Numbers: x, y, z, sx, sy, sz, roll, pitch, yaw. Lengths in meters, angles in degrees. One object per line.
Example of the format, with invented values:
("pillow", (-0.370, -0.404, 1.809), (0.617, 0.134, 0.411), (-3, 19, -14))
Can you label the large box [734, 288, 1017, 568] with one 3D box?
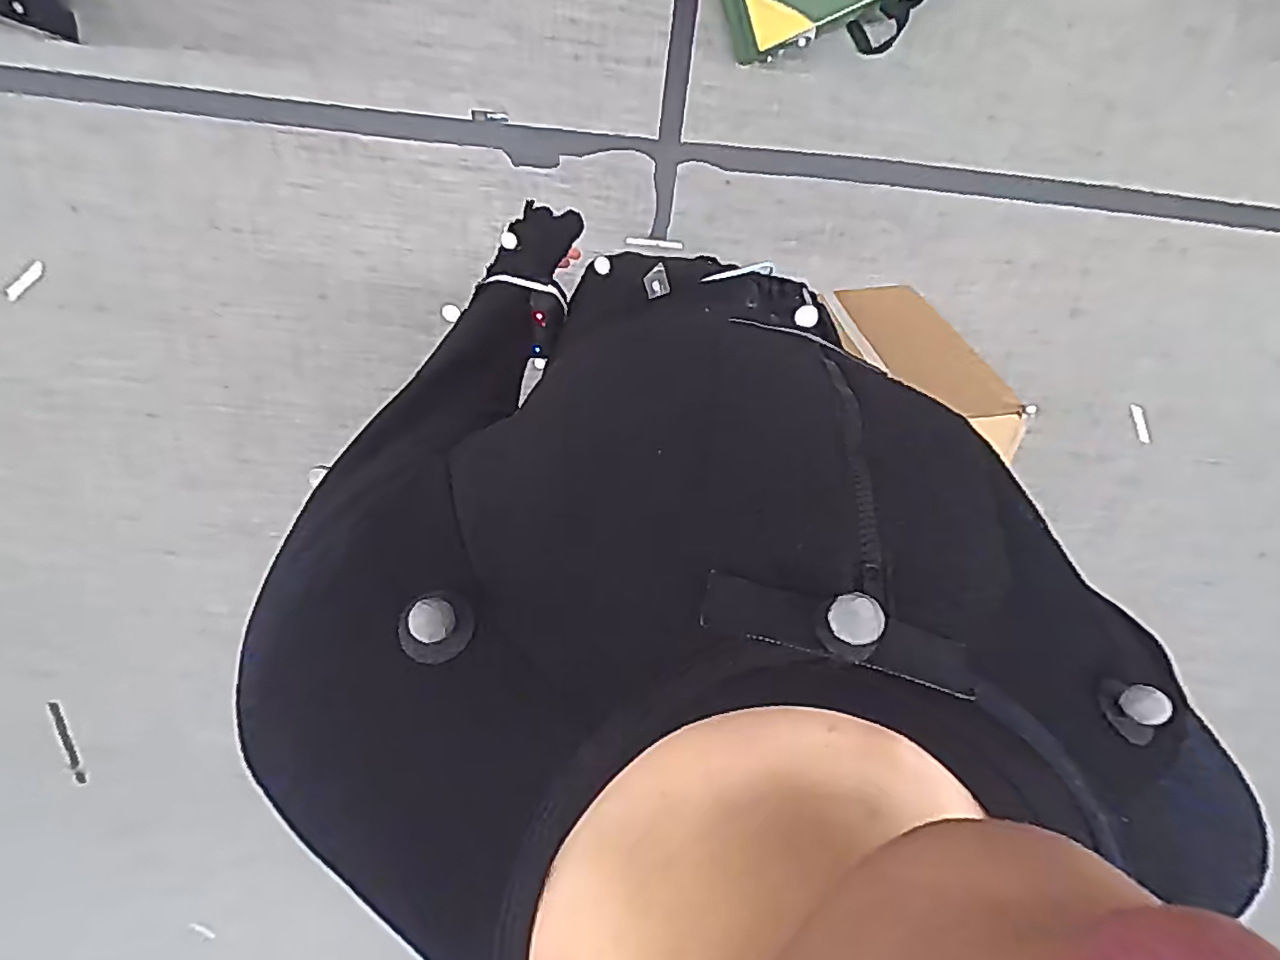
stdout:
("large box", (0.361, -0.102, 0.978), (0.320, 0.408, 0.320), (-7, 134, 2))
